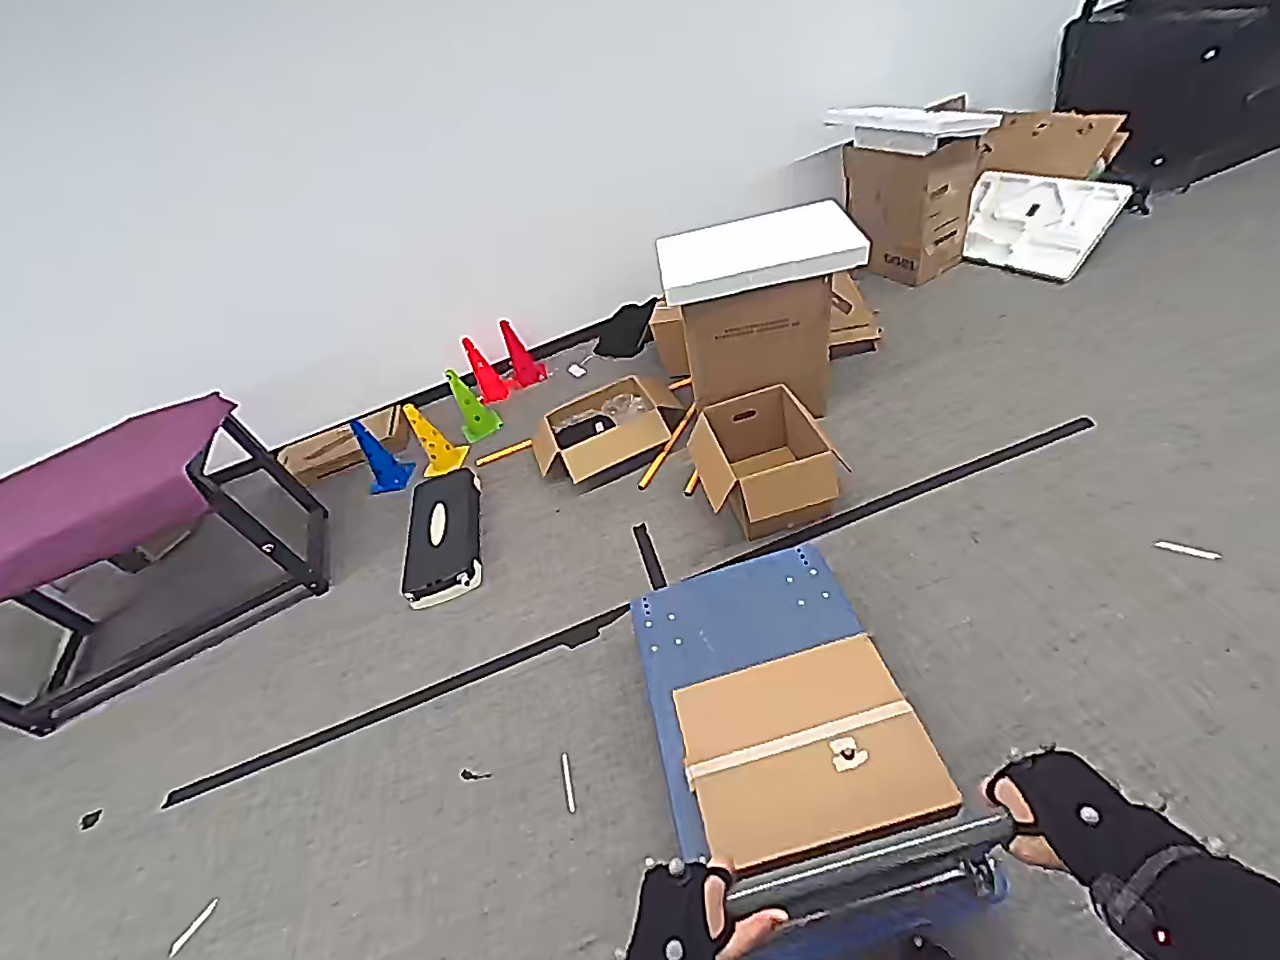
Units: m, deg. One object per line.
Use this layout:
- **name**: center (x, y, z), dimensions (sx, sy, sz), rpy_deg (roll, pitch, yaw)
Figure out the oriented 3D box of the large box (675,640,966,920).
- **large box**: center (0.316, 0.572, 1.032), dimensions (0.408, 0.320, 0.320), rpy_deg (-17, 42, 1)
